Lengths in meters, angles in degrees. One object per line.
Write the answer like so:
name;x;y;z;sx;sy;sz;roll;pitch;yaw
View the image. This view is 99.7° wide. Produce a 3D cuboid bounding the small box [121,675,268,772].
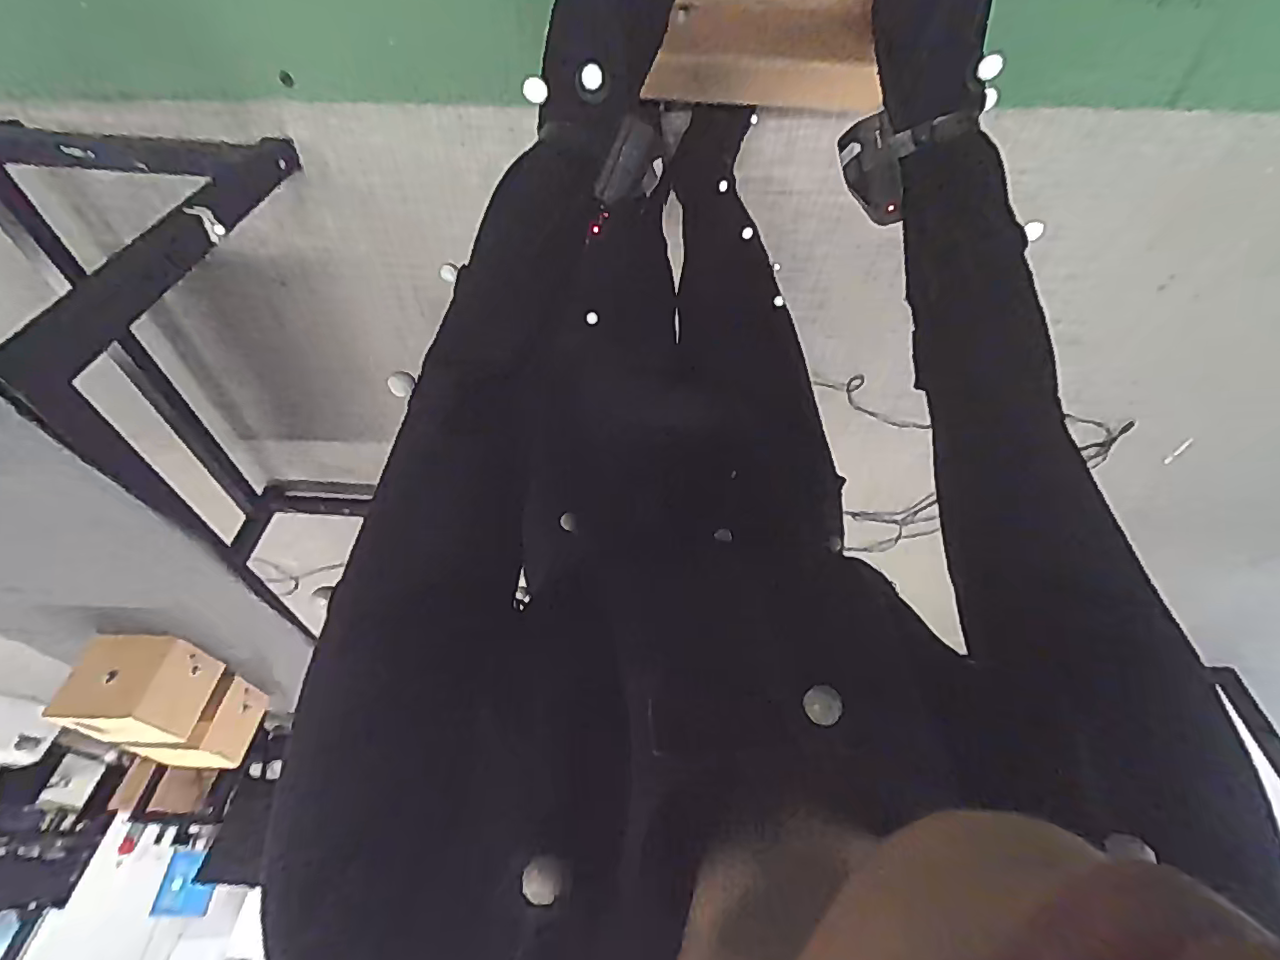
small box;-1.037;0.574;1.279;0.179;0.176;0.168;2;140;0
